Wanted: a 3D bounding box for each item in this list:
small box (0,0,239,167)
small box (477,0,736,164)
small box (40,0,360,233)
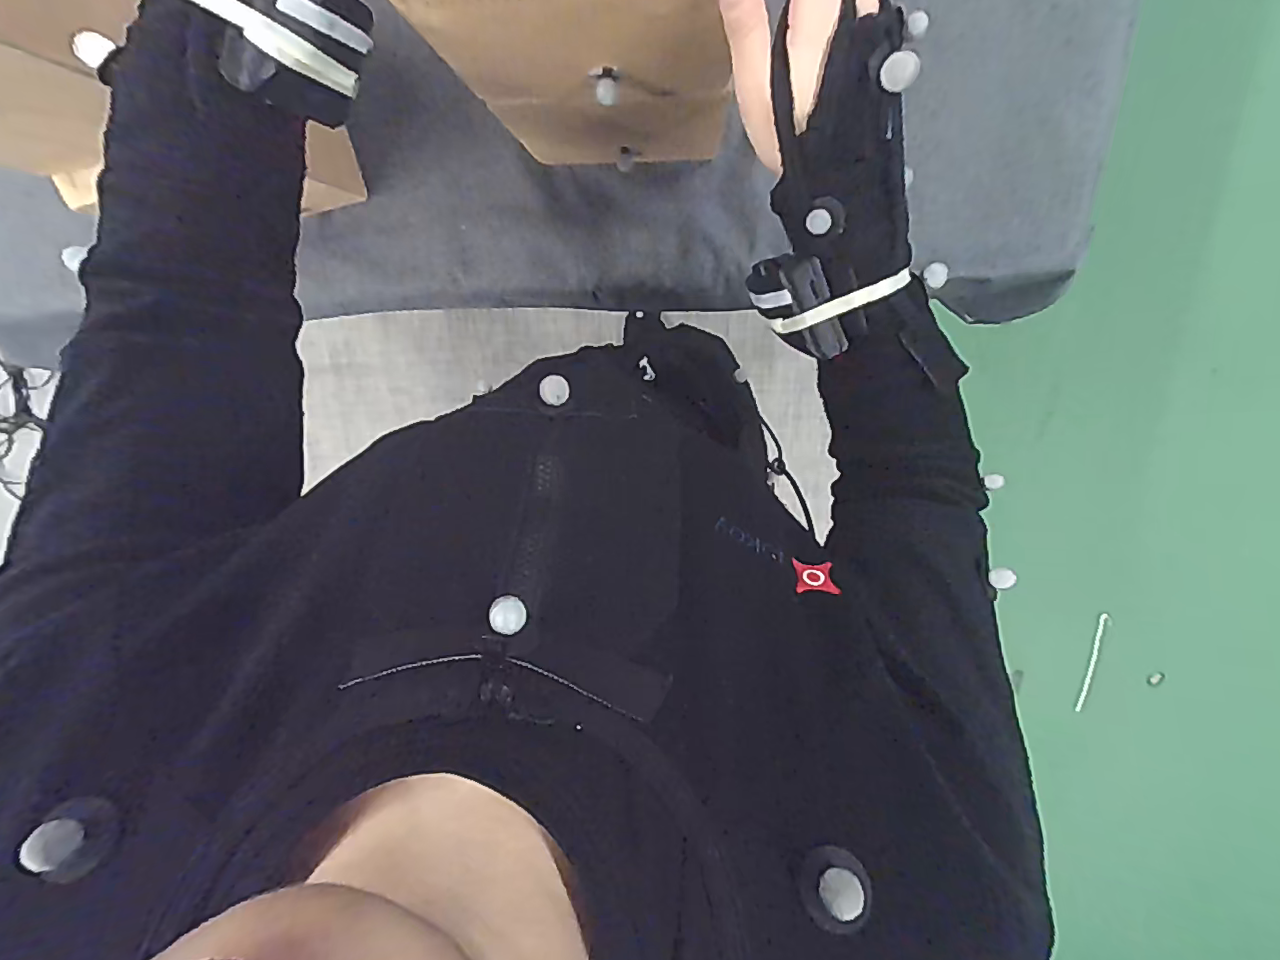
[{"bbox_3d":[-0.388,-0.294,0.304,0.179,0.176,0.168,-7,108,4],"label":"small box"},{"bbox_3d":[-0.021,-0.364,0.429,0.179,0.176,0.168,0,108,3],"label":"small box"},{"bbox_3d":[-0.381,-0.330,0.462,0.168,0.176,0.179,-10,108,7],"label":"small box"}]
